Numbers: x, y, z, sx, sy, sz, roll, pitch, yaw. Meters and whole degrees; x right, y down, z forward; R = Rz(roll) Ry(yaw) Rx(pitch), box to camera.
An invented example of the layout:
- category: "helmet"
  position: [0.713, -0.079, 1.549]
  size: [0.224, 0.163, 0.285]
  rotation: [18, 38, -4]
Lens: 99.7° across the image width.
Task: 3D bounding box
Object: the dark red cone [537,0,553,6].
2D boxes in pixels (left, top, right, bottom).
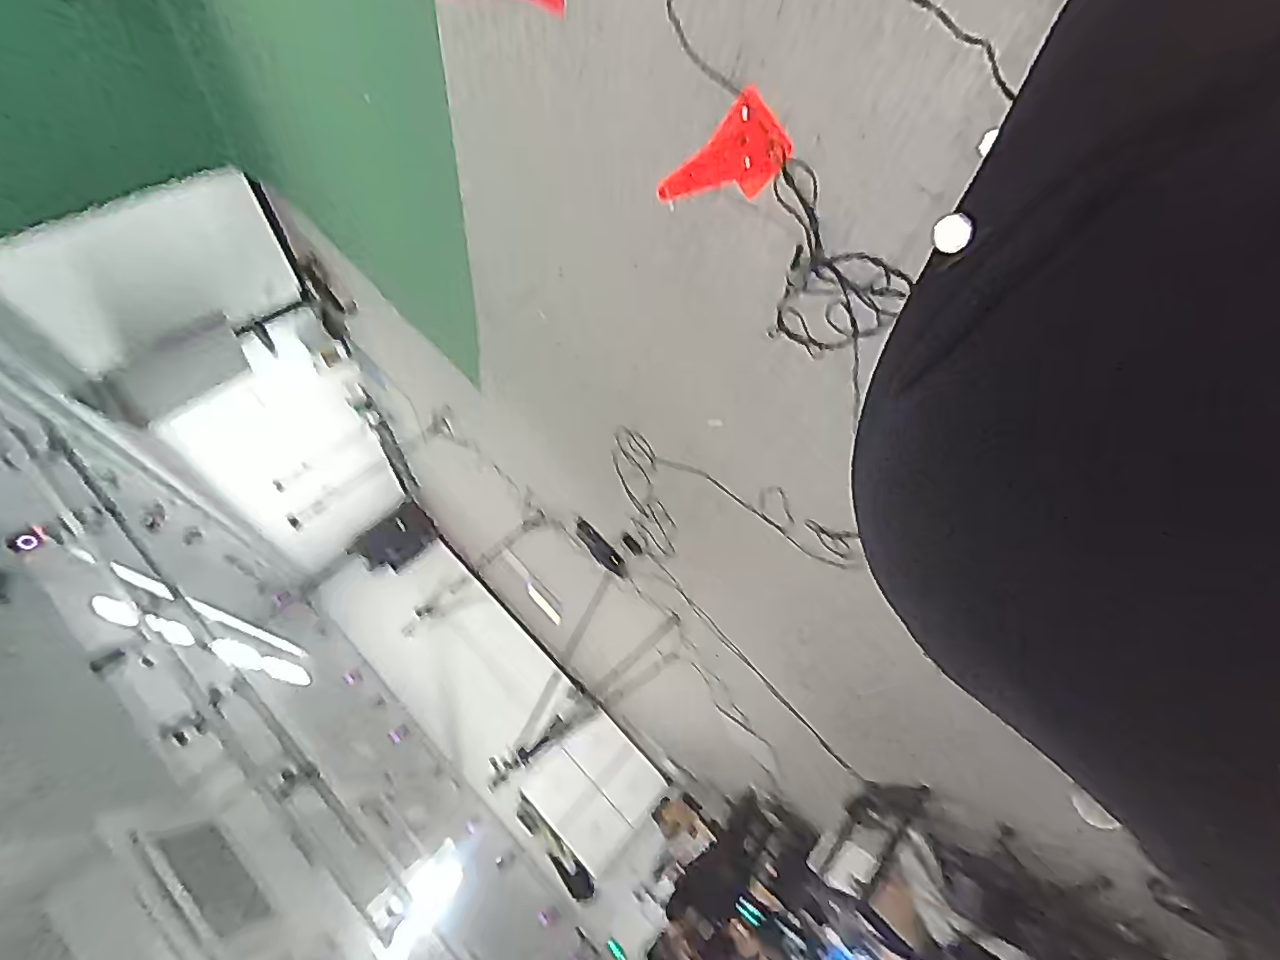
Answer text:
- category: "dark red cone"
  position: [-0.427, -1.389, 1.450]
  size: [0.201, 0.394, 0.202]
  rotation: [44, 154, 19]

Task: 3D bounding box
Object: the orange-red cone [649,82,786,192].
- category: "orange-red cone"
  position: [0.159, -0.801, 1.354]
  size: [0.198, 0.360, 0.199]
  rotation: [54, 156, -7]
